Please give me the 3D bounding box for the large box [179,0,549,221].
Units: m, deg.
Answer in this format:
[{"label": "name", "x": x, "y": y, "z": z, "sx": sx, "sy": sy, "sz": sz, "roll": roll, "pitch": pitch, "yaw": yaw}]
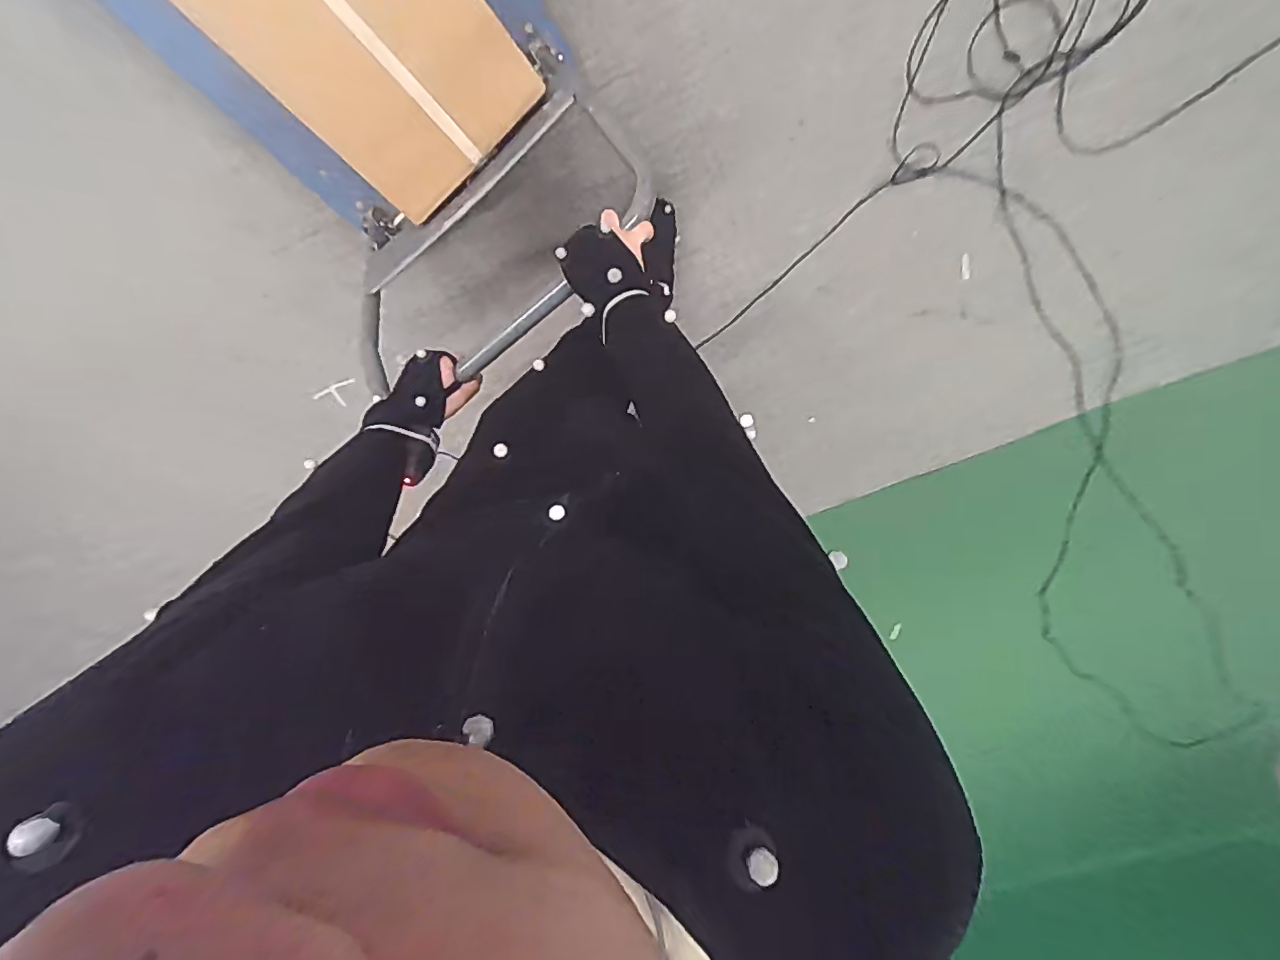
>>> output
[{"label": "large box", "x": -0.410, "y": -0.728, "z": 0.884, "sx": 0.320, "sy": 0.320, "sz": 0.408, "roll": -37, "pitch": 133, "yaw": 16}]
